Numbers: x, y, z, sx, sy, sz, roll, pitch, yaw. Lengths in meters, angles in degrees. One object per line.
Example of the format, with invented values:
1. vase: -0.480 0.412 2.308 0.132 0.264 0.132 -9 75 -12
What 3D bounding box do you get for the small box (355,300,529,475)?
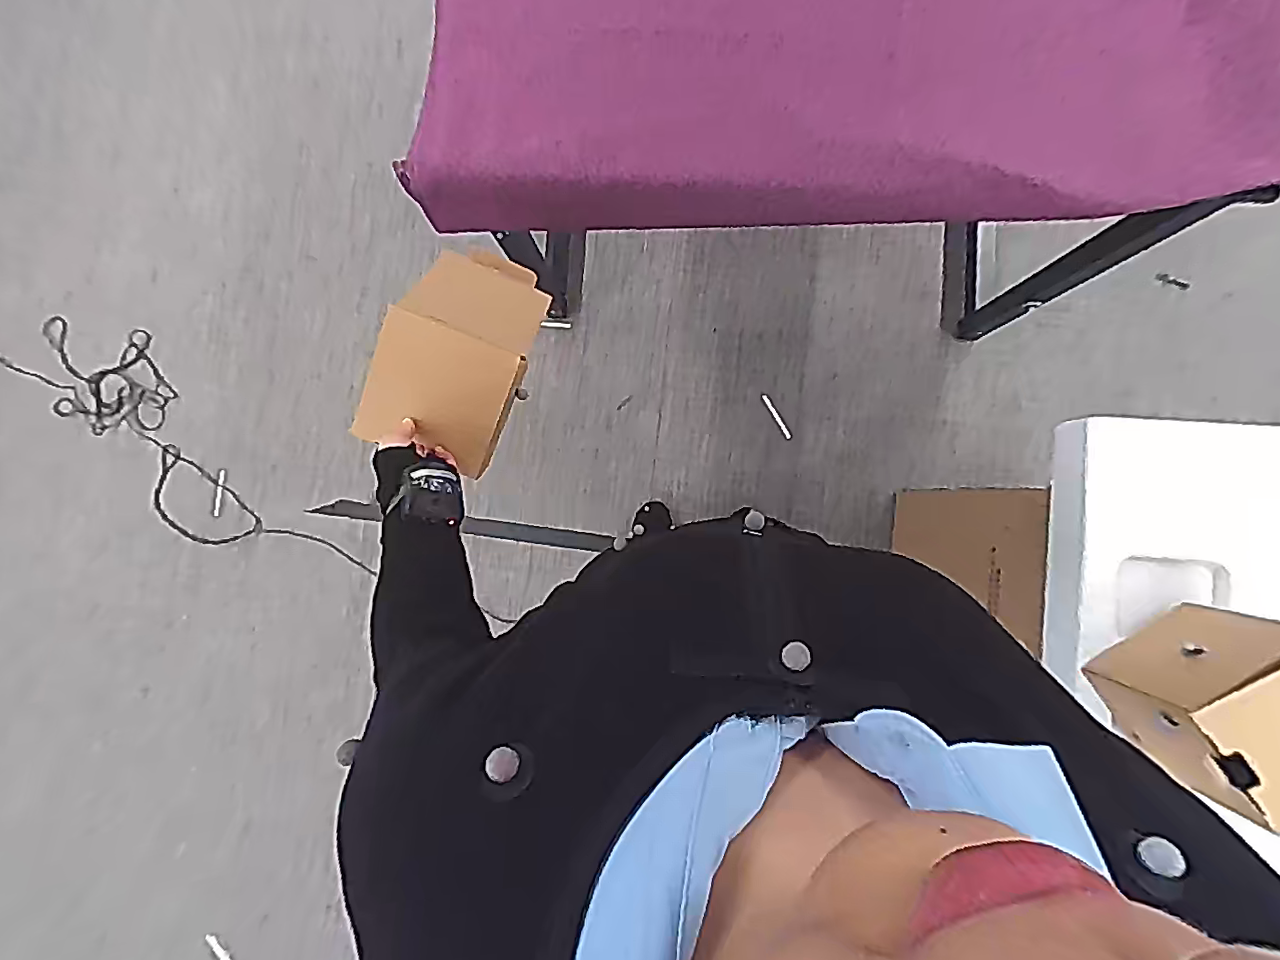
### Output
1. small box: -0.267 -0.125 0.765 0.168 0.176 0.179 22 94 -13
